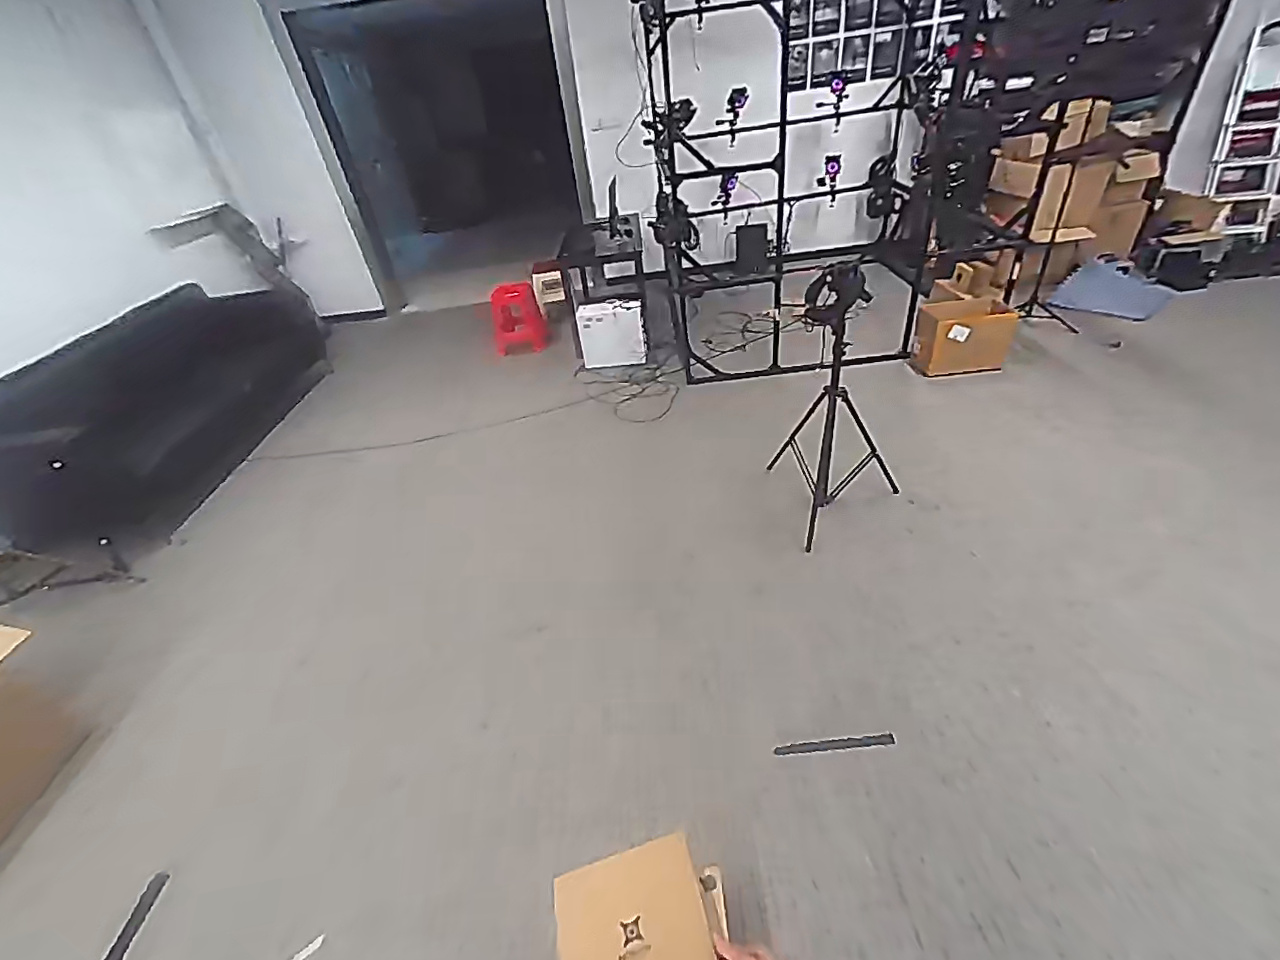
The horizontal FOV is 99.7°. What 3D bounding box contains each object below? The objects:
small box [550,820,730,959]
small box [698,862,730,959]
[{"bbox_3d":[0.008,0.535,0.607,0.168,0.176,0.179,-20,32,-2],"label":"small box"},{"bbox_3d":[0.118,1.029,1.262,0.168,0.176,0.179,-8,36,4],"label":"small box"}]
